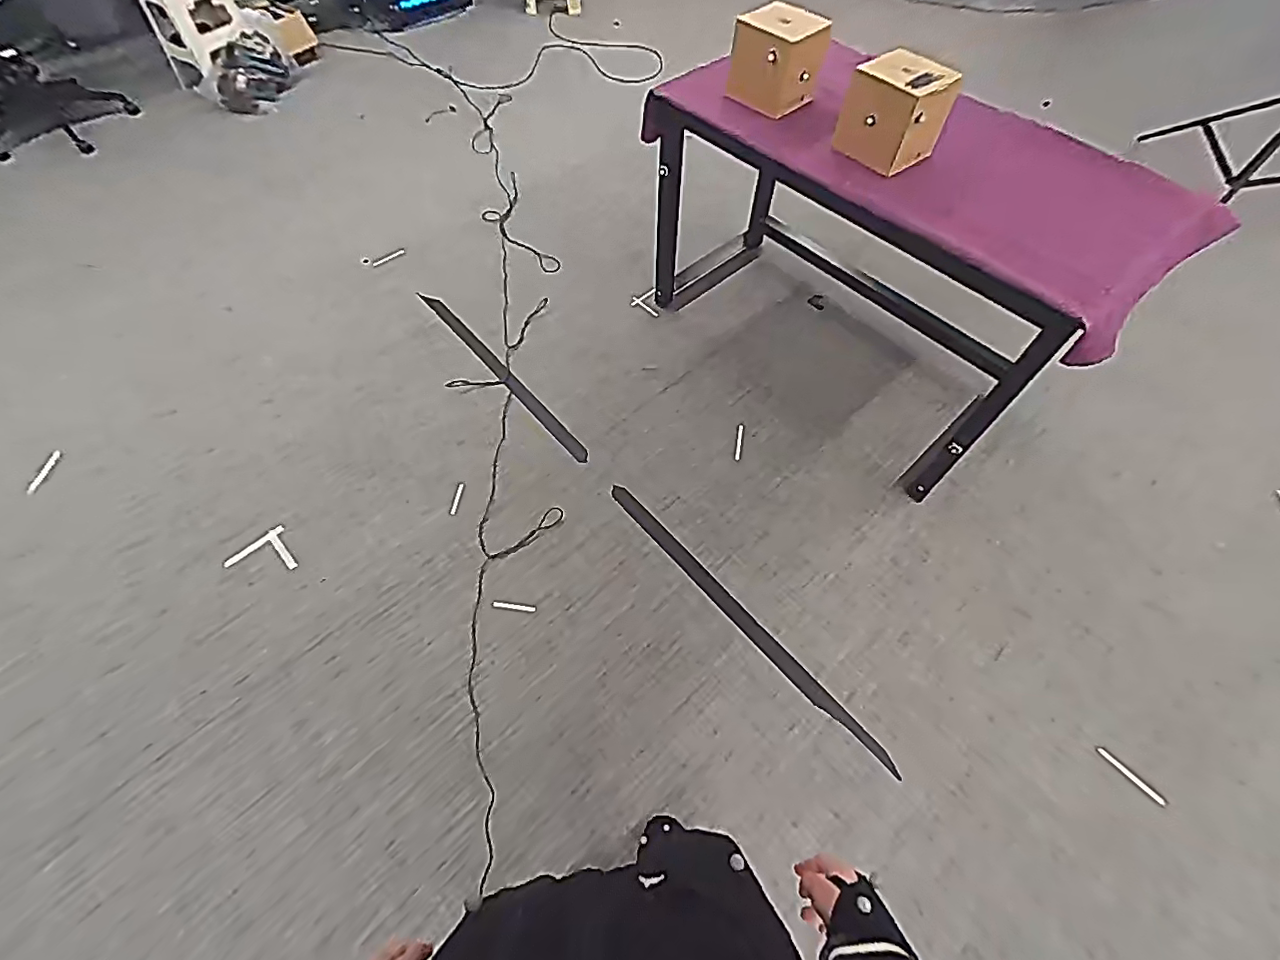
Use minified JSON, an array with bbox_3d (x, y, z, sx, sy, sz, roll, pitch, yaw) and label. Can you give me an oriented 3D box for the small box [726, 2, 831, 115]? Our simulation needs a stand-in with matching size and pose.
[{"bbox_3d":[0.343,-1.058,1.367,0.168,0.176,0.179,-40,67,-23],"label":"small box"}]
